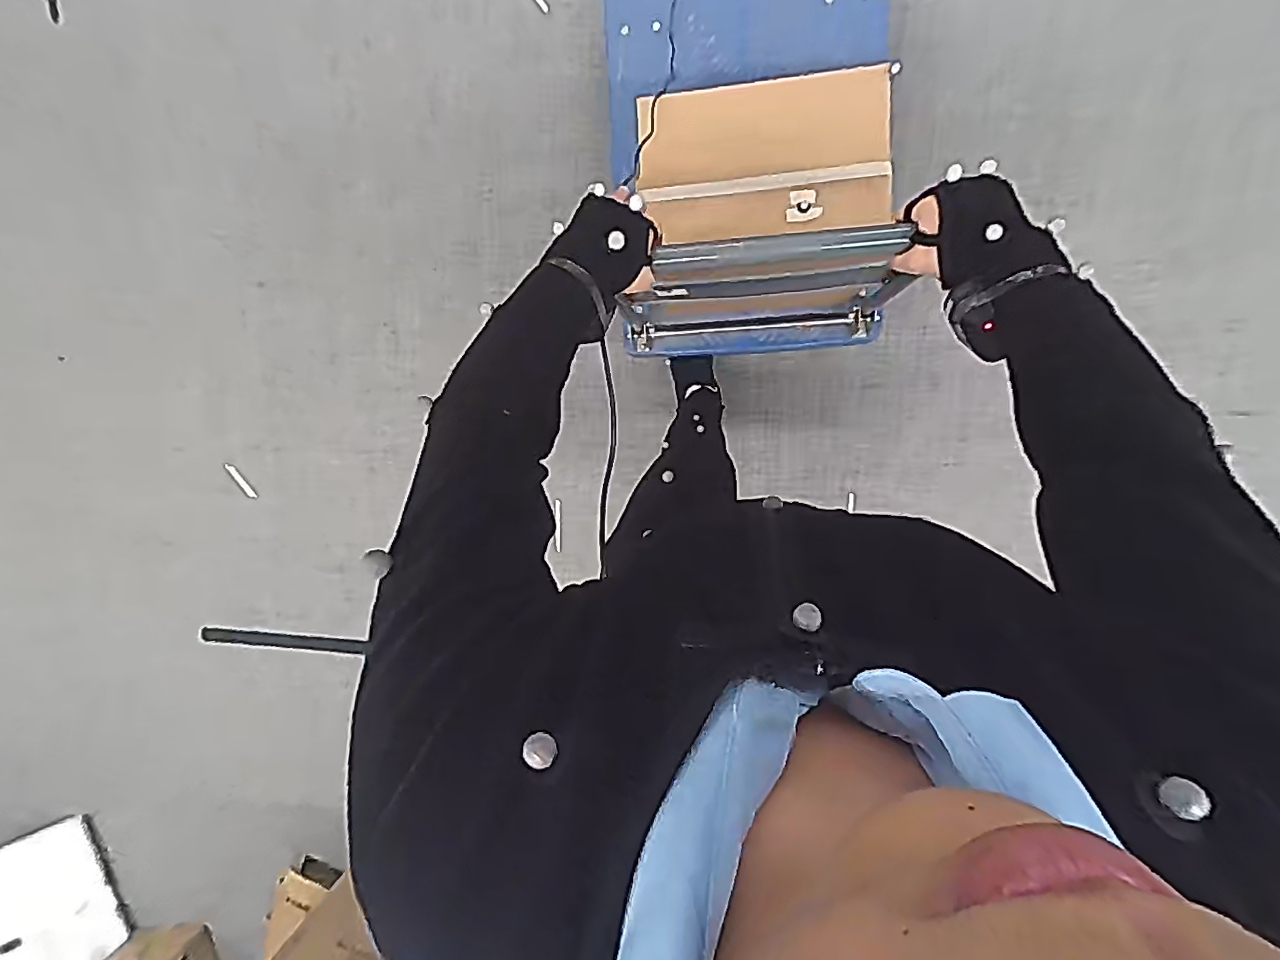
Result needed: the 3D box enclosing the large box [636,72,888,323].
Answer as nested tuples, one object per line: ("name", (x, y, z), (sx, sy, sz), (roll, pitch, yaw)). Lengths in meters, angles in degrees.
("large box", (0.218, -0.499, 1.040), (0.408, 0.320, 0.320), (-2, 98, 8))
